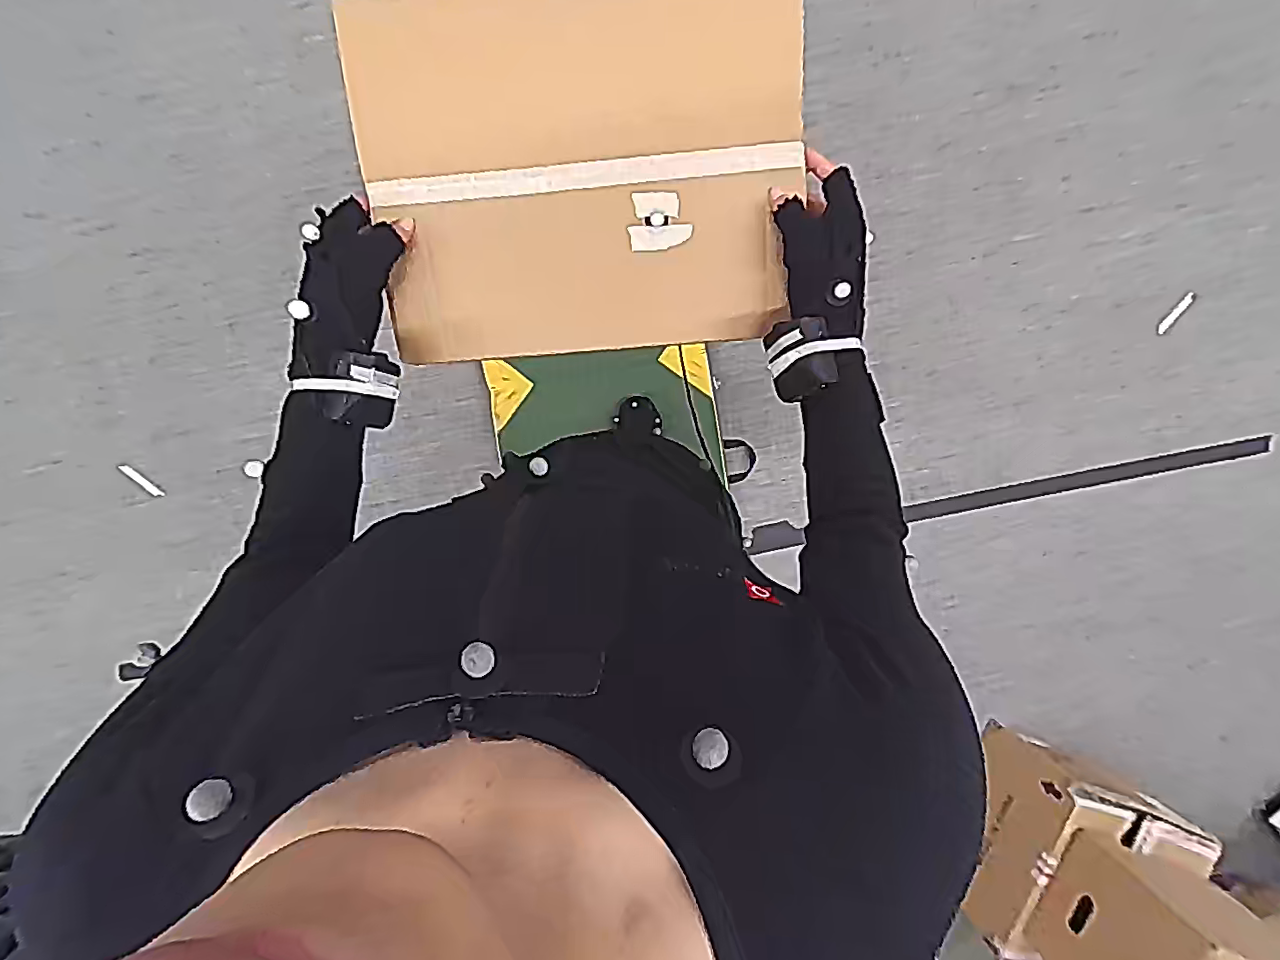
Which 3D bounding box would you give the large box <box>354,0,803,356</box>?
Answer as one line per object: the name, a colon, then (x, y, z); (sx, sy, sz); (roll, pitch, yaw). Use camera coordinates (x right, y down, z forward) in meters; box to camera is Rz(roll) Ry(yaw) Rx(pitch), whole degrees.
large box: (-0.049, -0.331, 0.658); (0.408, 0.320, 0.320); (-5, 105, 1)
